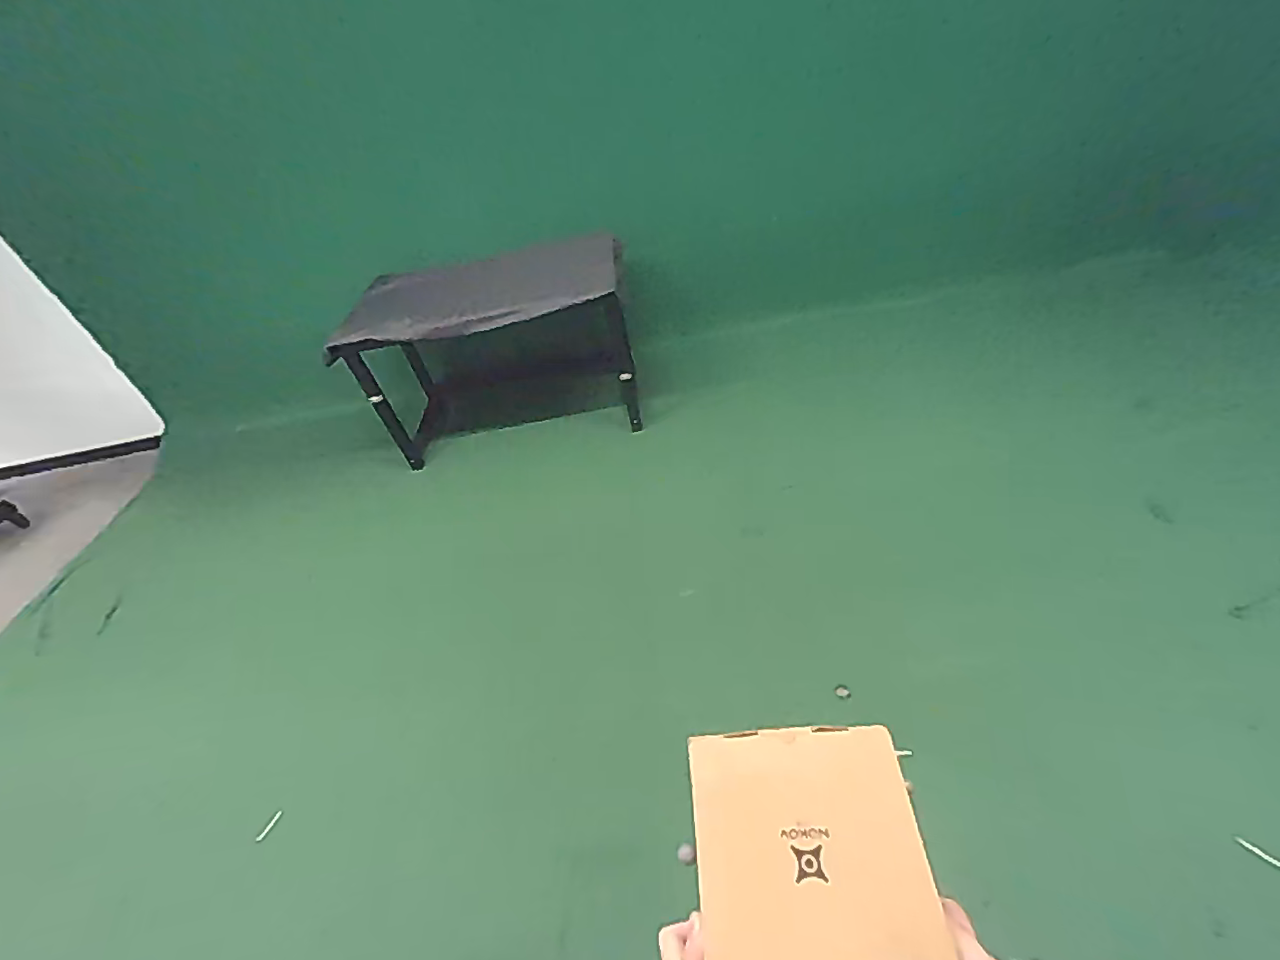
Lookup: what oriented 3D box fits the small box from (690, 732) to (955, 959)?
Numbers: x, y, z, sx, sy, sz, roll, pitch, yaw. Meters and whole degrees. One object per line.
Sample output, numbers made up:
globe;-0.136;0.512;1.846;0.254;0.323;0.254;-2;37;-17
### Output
small box;0.135;0.330;0.449;0.168;0.176;0.179;-7;47;6
